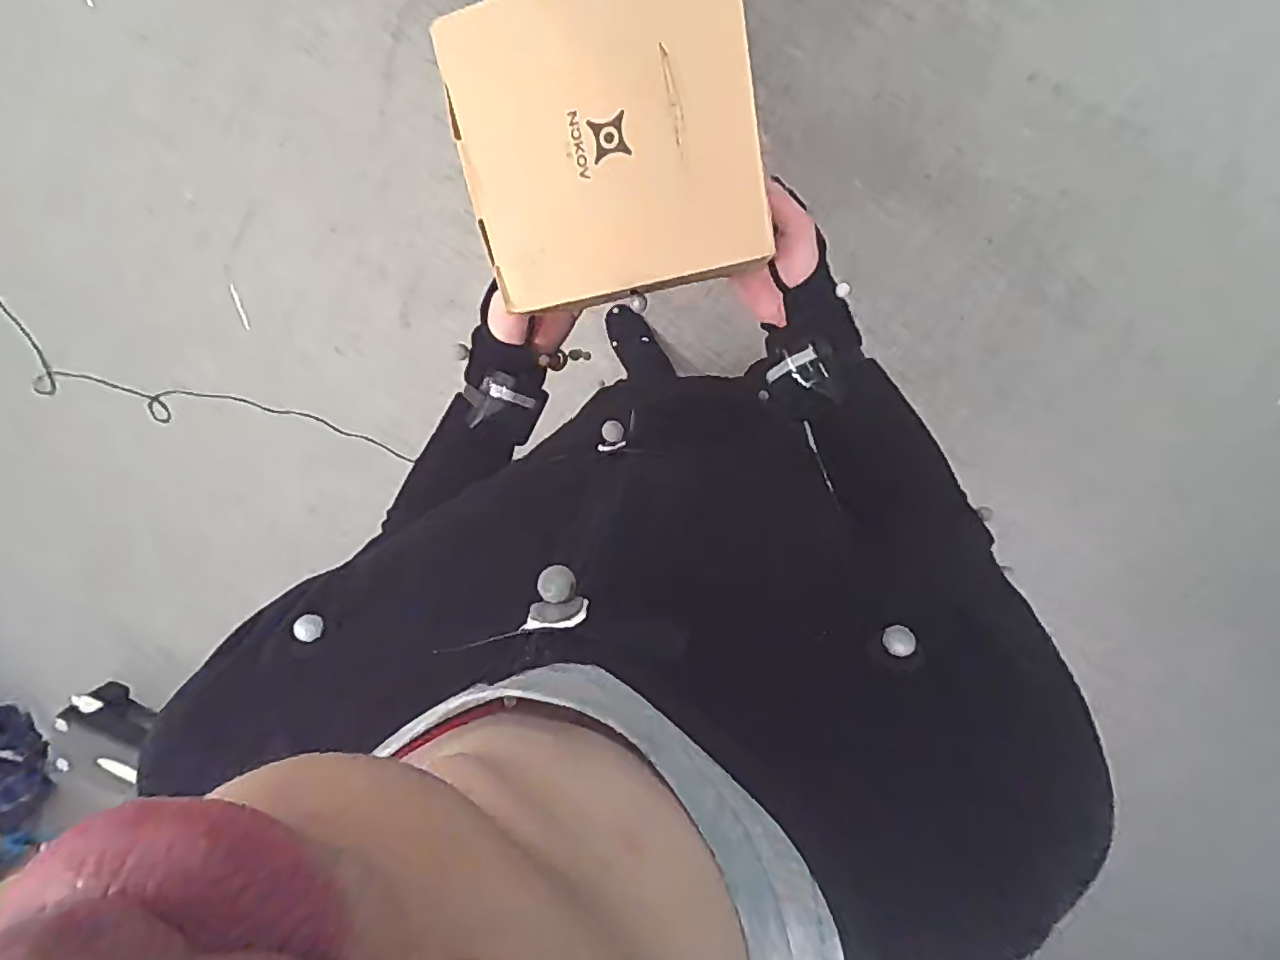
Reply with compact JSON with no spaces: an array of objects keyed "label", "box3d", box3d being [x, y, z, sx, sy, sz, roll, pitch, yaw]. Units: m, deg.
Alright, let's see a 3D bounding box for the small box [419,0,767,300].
[{"label":"small box","box3d":[-0.012,-0.227,0.380,0.179,0.176,0.168,-9,108,12]}]
